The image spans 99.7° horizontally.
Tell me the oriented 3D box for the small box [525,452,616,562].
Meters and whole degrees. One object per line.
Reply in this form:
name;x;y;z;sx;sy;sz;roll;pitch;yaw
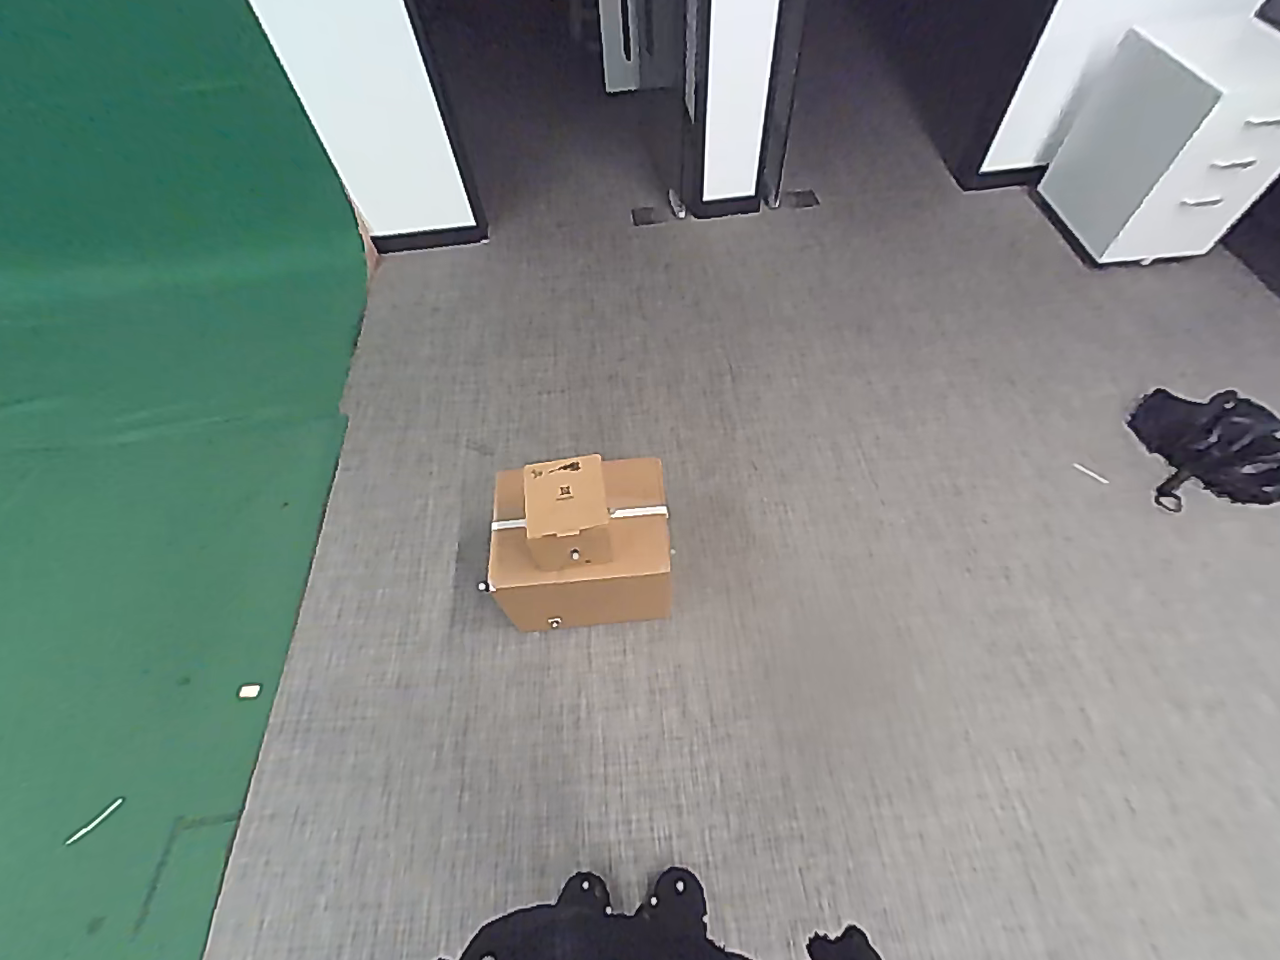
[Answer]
small box;-0.146;0.067;1.163;0.168;0.176;0.179;-8;59;-1
